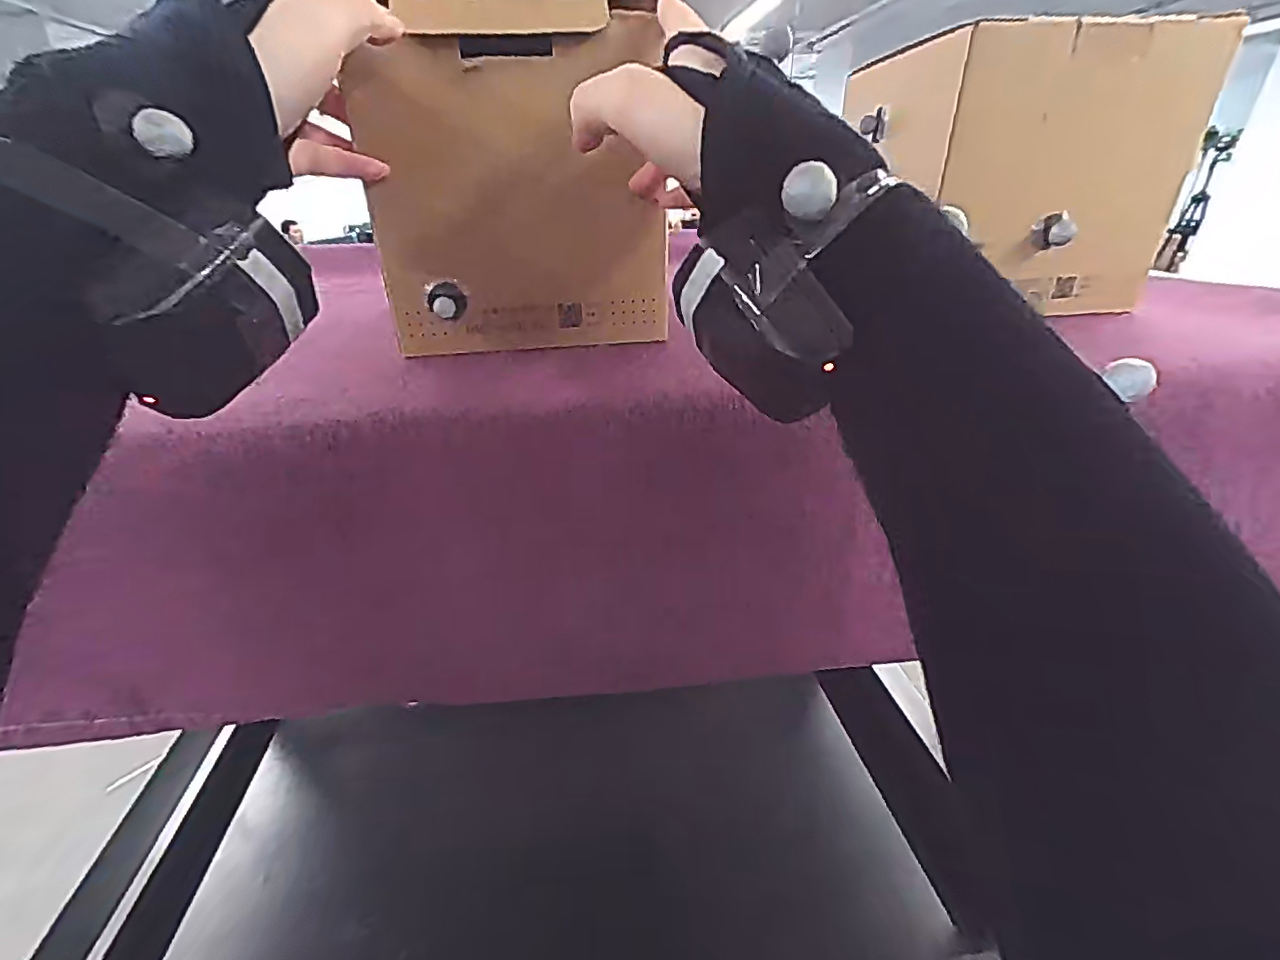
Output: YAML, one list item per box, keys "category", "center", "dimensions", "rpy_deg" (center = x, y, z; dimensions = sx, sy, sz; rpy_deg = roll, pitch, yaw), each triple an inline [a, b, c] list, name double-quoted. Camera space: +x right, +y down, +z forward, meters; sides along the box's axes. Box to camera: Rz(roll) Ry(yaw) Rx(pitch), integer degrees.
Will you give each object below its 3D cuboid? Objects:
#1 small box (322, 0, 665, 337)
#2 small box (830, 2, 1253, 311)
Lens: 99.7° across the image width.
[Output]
- category: "small box"
  center: [-0.078, -0.197, 0.367]
  dimensions: [0.168, 0.176, 0.179]
  rpy_deg: [-5, 28, -8]
- category: "small box"
  center: [0.260, -0.229, 0.411]
  dimensions: [0.168, 0.176, 0.179]
  rpy_deg: [-4, 29, -3]
